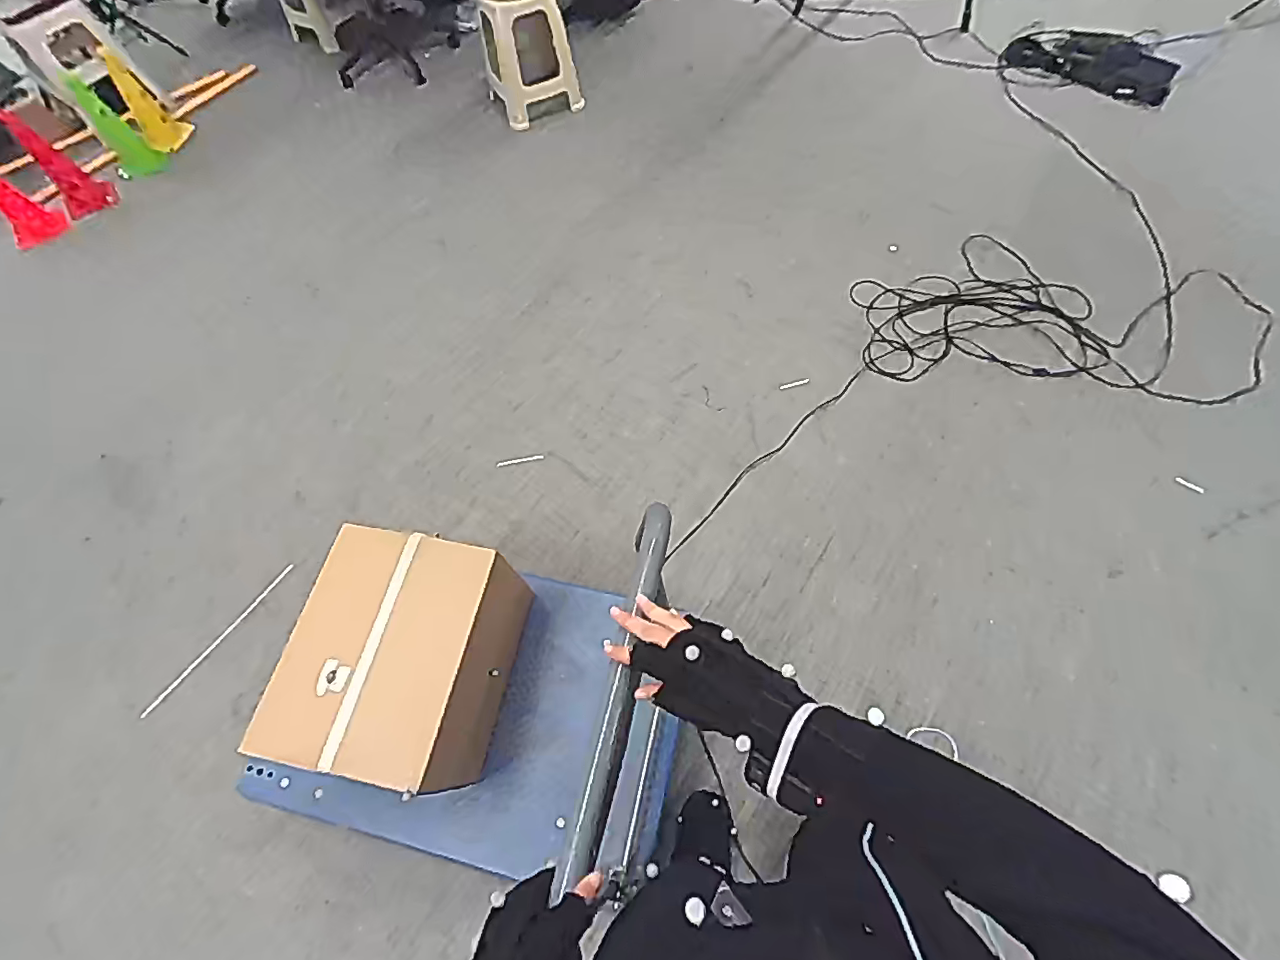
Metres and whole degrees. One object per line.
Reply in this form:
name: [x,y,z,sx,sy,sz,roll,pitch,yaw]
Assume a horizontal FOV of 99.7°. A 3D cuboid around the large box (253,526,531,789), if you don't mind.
large box: [-0.441,0.347,1.077,0.320,0.320,0.408,9,65,8]
